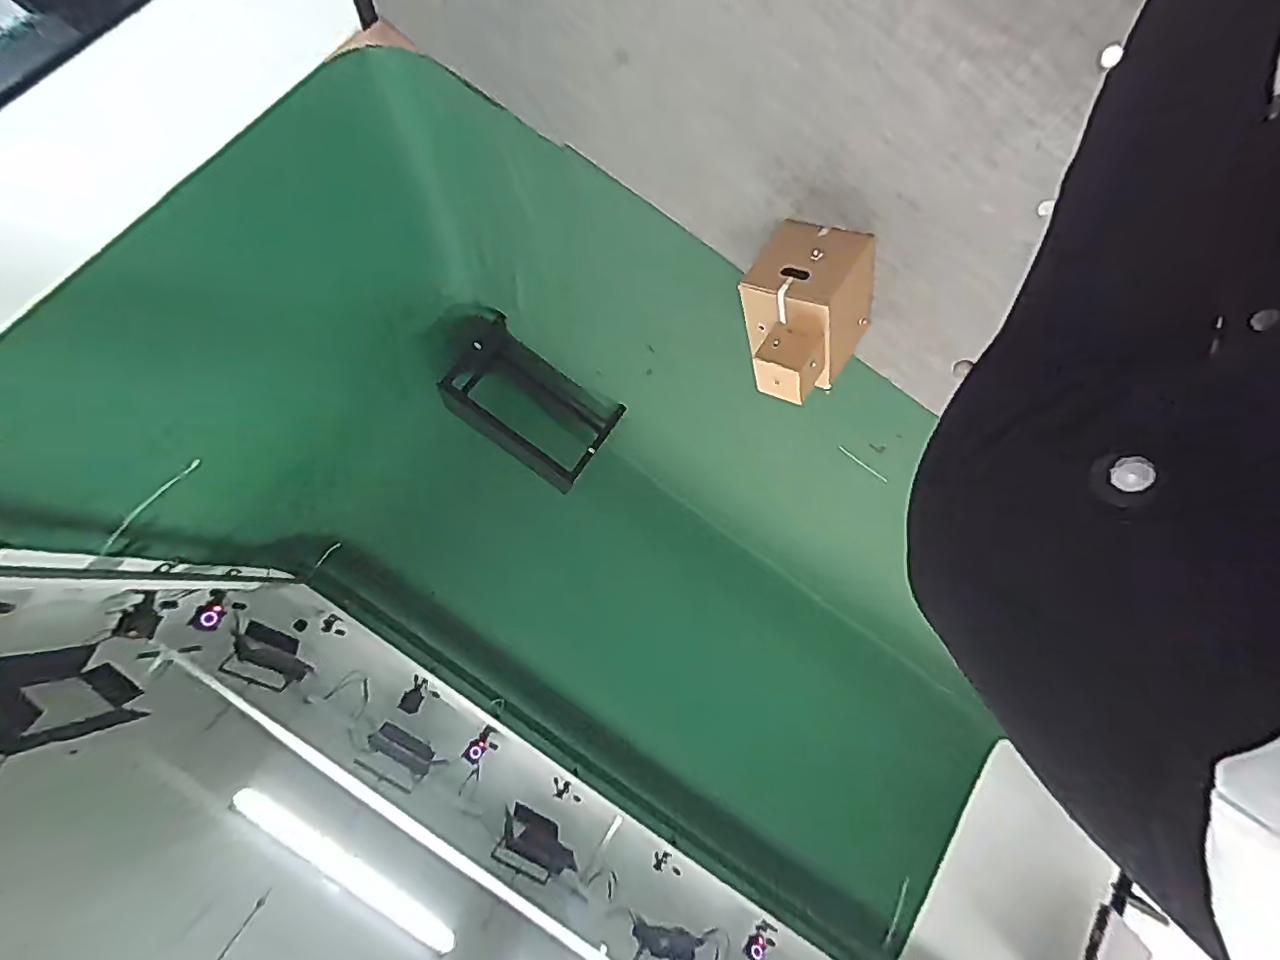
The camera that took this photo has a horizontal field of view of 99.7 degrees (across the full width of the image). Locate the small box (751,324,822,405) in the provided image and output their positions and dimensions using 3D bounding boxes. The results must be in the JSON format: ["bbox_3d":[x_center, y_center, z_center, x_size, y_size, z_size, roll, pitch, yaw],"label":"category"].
[{"bbox_3d":[0.483,-0.383,1.775,0.168,0.176,0.179,27,164,29],"label":"small box"}]
